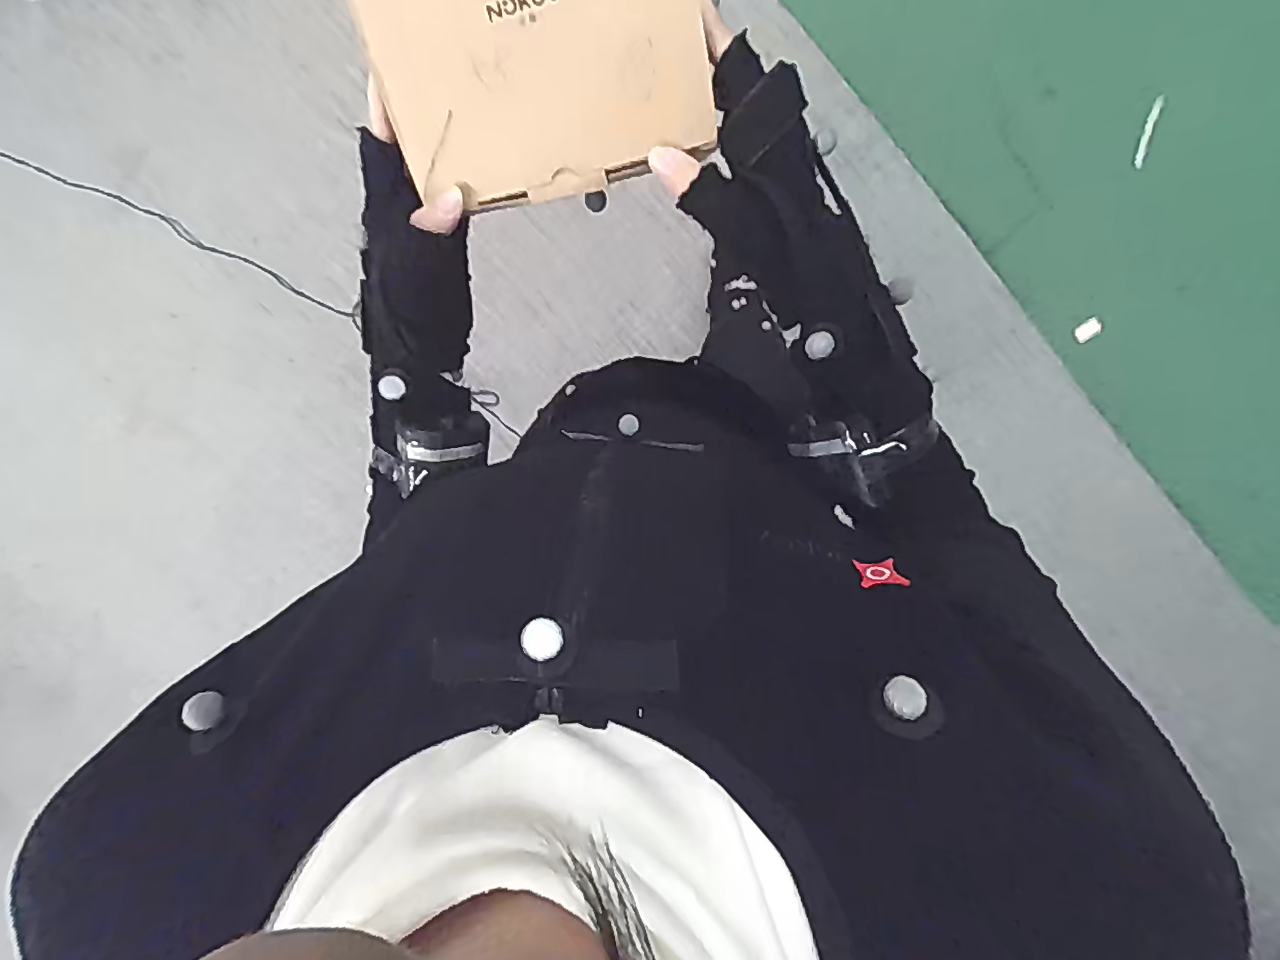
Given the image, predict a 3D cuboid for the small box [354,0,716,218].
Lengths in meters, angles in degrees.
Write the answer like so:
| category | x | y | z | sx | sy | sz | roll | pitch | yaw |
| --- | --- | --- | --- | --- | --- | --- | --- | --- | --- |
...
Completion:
| category | x | y | z | sx | sy | sz | roll | pitch | yaw |
| --- | --- | --- | --- | --- | --- | --- | --- | --- | --- |
| small box | -0.048 | -0.273 | 0.319 | 0.168 | 0.176 | 0.179 | -9 | 119 | 10 |
